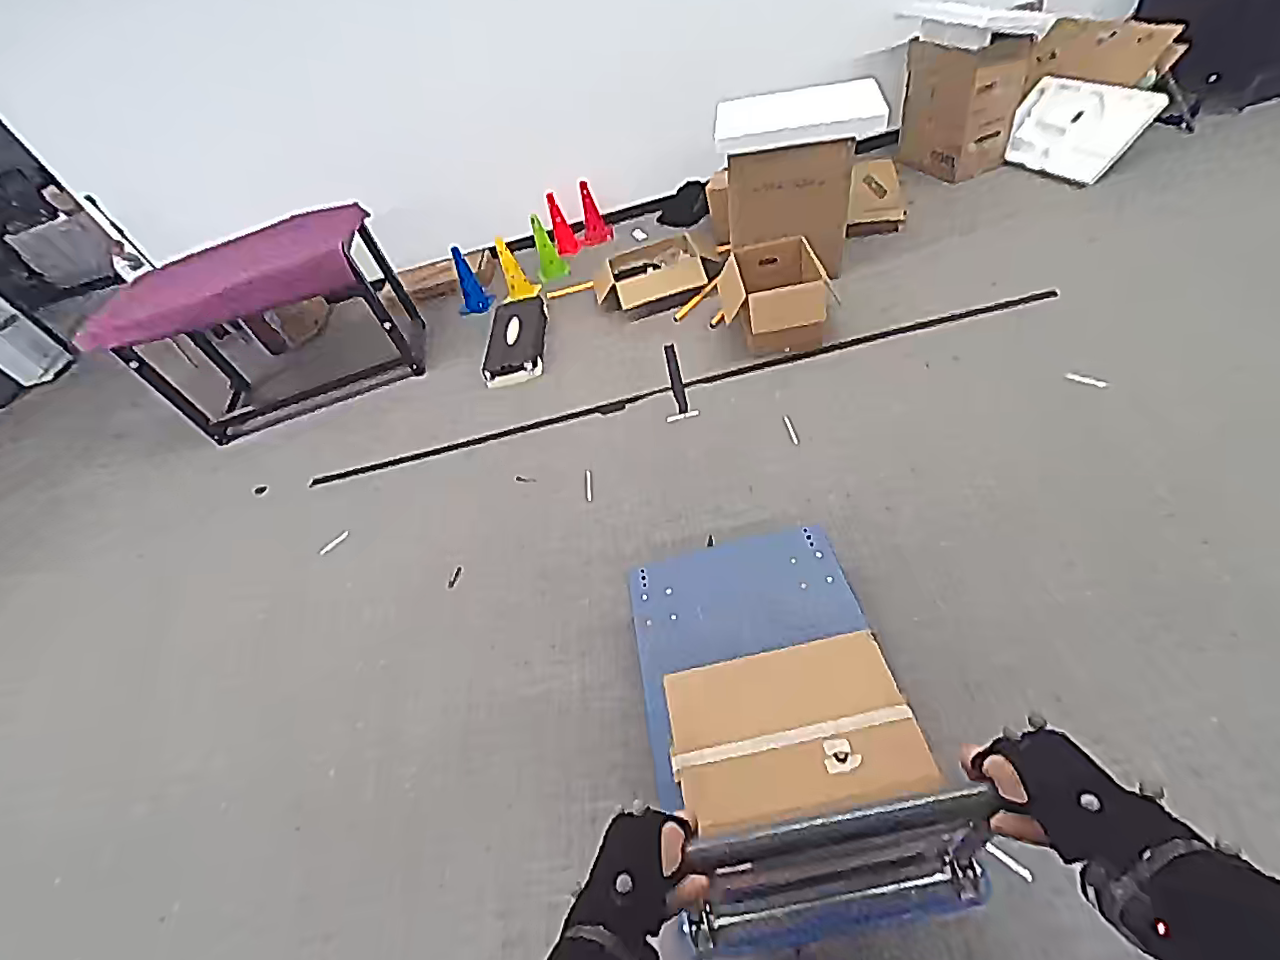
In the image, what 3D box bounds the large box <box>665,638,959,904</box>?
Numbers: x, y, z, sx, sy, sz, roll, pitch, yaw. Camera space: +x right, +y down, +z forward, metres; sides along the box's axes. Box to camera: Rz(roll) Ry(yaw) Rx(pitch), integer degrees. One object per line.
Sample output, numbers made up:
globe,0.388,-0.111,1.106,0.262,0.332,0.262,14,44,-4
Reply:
large box,0.286,0.546,1.008,0.408,0.320,0.320,-14,46,3
